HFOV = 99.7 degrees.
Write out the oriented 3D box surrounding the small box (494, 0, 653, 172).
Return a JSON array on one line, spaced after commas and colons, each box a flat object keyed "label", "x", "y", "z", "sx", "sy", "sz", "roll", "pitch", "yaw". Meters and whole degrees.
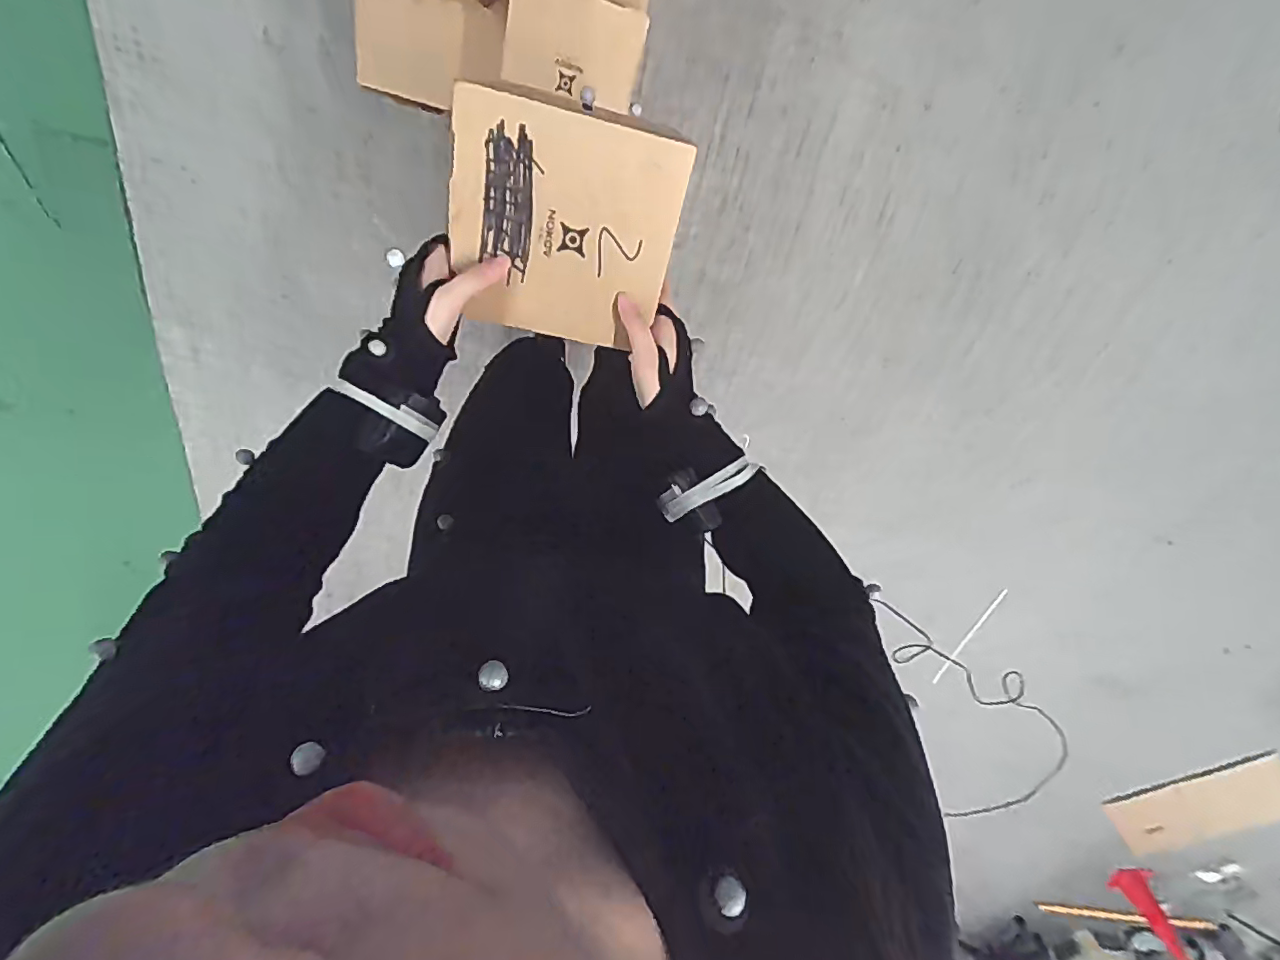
[{"label": "small box", "x": -0.090, "y": -0.549, "z": 0.744, "sx": 0.168, "sy": 0.176, "sz": 0.179, "roll": 15, "pitch": 119, "yaw": -10}]
